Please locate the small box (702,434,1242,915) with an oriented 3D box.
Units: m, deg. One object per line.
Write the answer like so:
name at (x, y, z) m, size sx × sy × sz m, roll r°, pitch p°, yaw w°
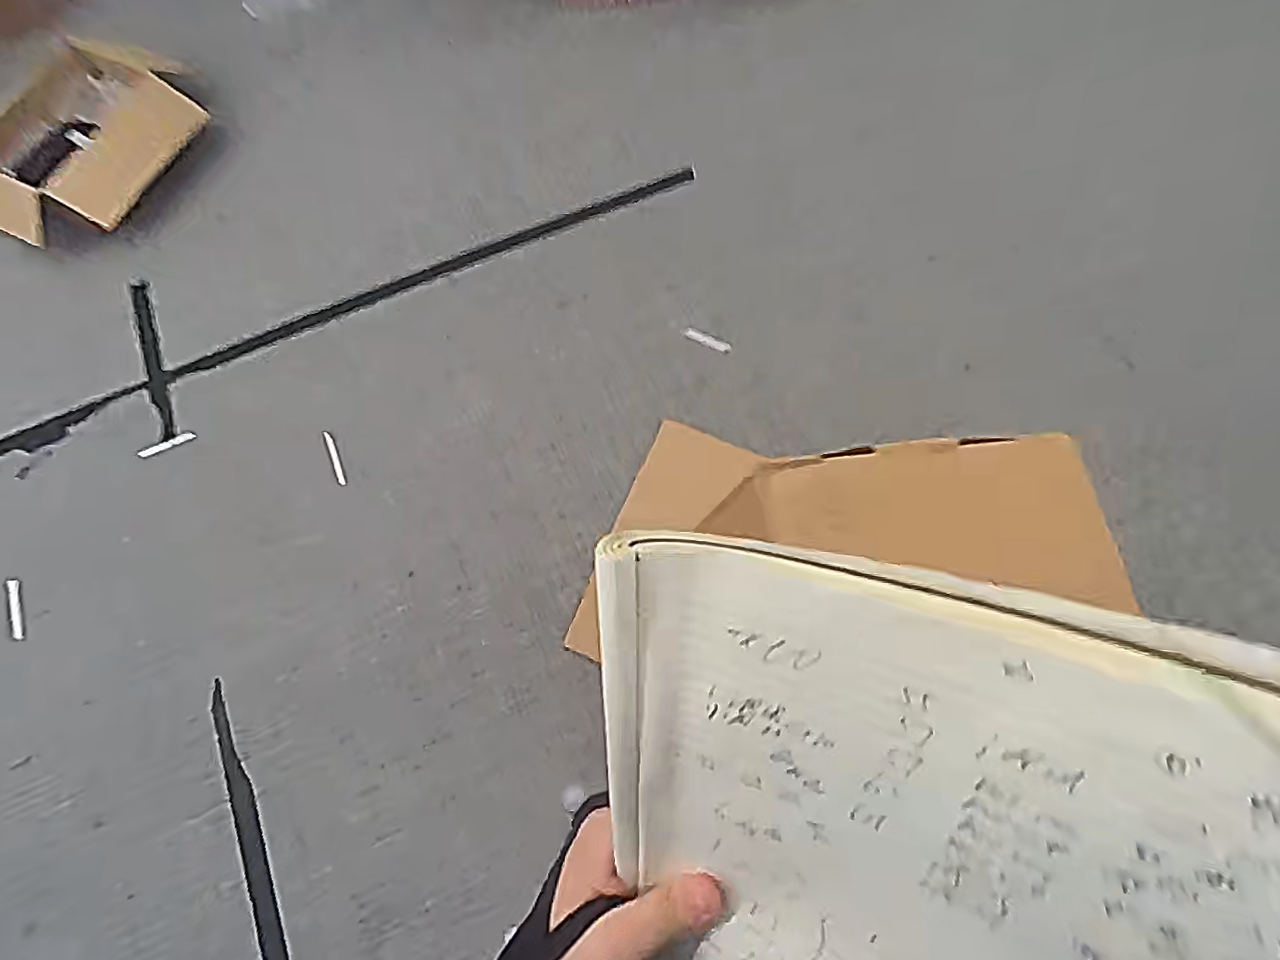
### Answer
small box at (0.139, 0.093, 0.305) m, size 0.168 × 0.176 × 0.179 m, roll -7°, pitch 73°, yaw -6°
